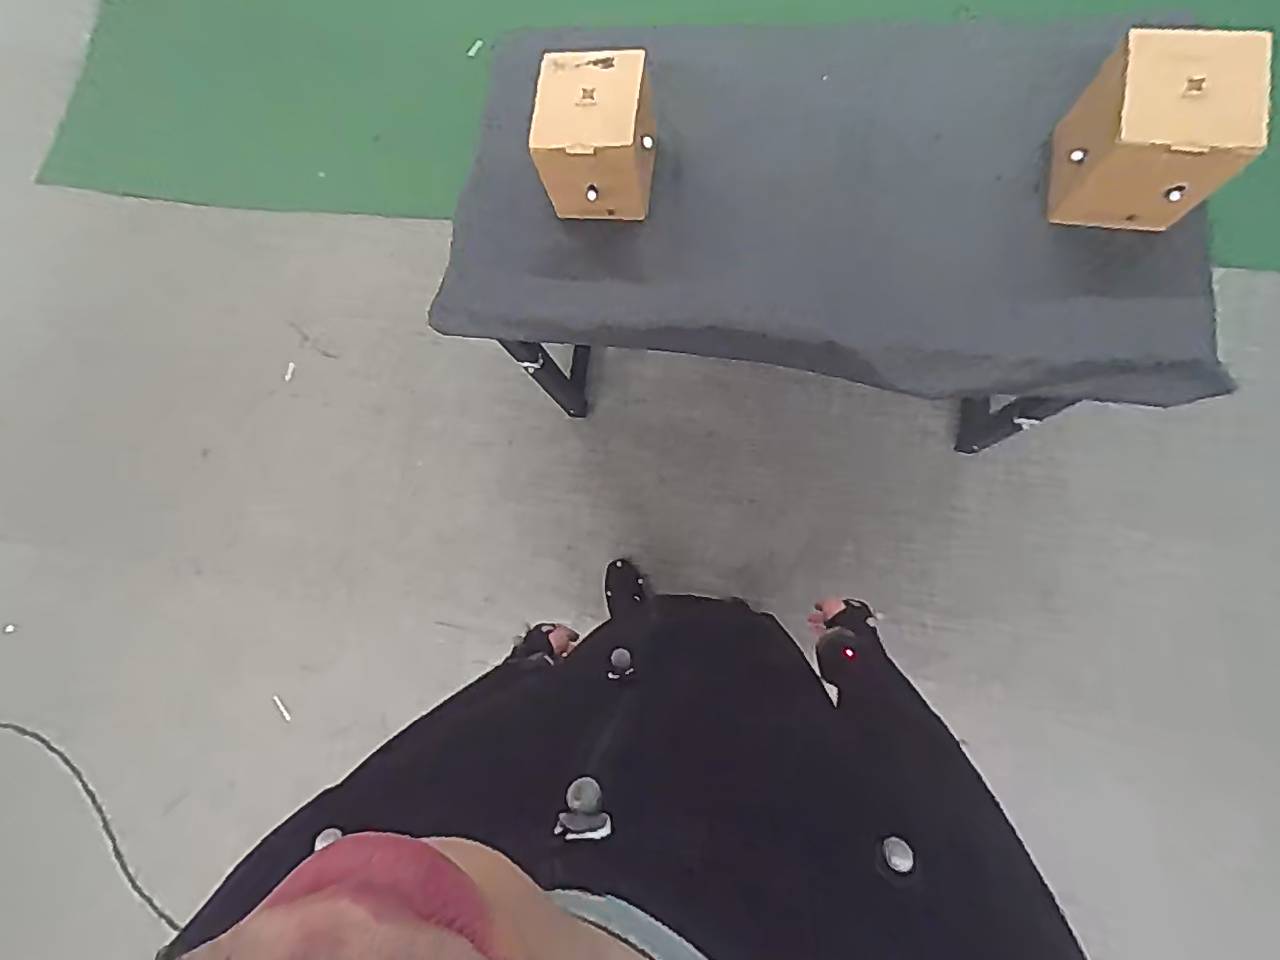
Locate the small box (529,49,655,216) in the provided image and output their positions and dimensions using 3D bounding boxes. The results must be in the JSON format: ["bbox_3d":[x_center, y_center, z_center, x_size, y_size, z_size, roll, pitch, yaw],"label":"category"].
[{"bbox_3d":[-0.071,-0.571,0.908,0.168,0.176,0.179,5,81,9],"label":"small box"}]

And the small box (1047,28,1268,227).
[{"bbox_3d":[0.722,-0.493,0.775,0.168,0.176,0.179,10,80,9],"label":"small box"}]
